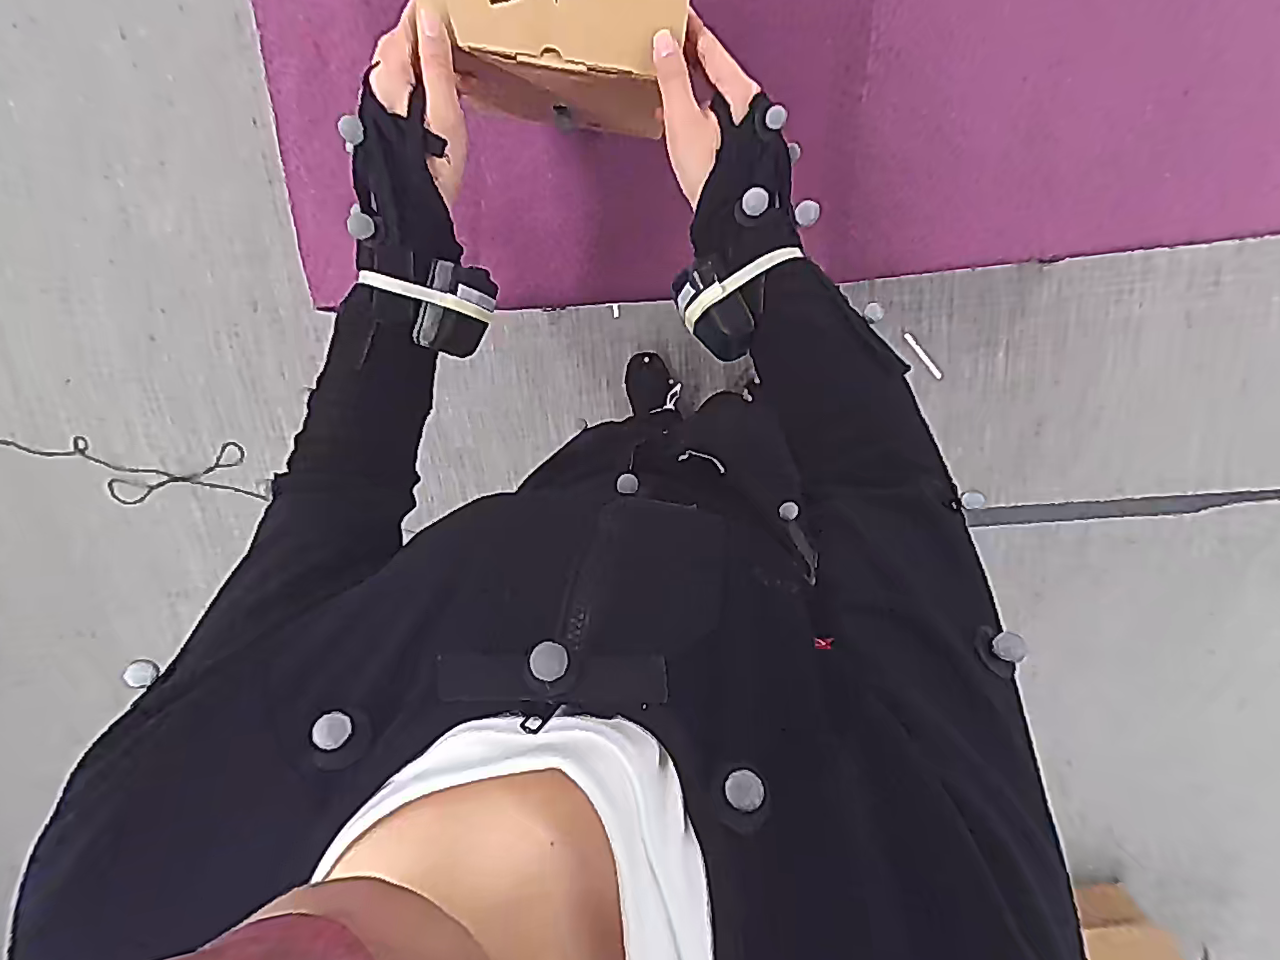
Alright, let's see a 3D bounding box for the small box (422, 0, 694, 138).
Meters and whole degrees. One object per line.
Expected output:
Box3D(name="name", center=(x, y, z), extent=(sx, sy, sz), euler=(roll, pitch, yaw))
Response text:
Box3D(name="small box", center=(-0.046, -0.374, 0.386), extent=(0.168, 0.176, 0.179), euler=(6, 111, -5))
